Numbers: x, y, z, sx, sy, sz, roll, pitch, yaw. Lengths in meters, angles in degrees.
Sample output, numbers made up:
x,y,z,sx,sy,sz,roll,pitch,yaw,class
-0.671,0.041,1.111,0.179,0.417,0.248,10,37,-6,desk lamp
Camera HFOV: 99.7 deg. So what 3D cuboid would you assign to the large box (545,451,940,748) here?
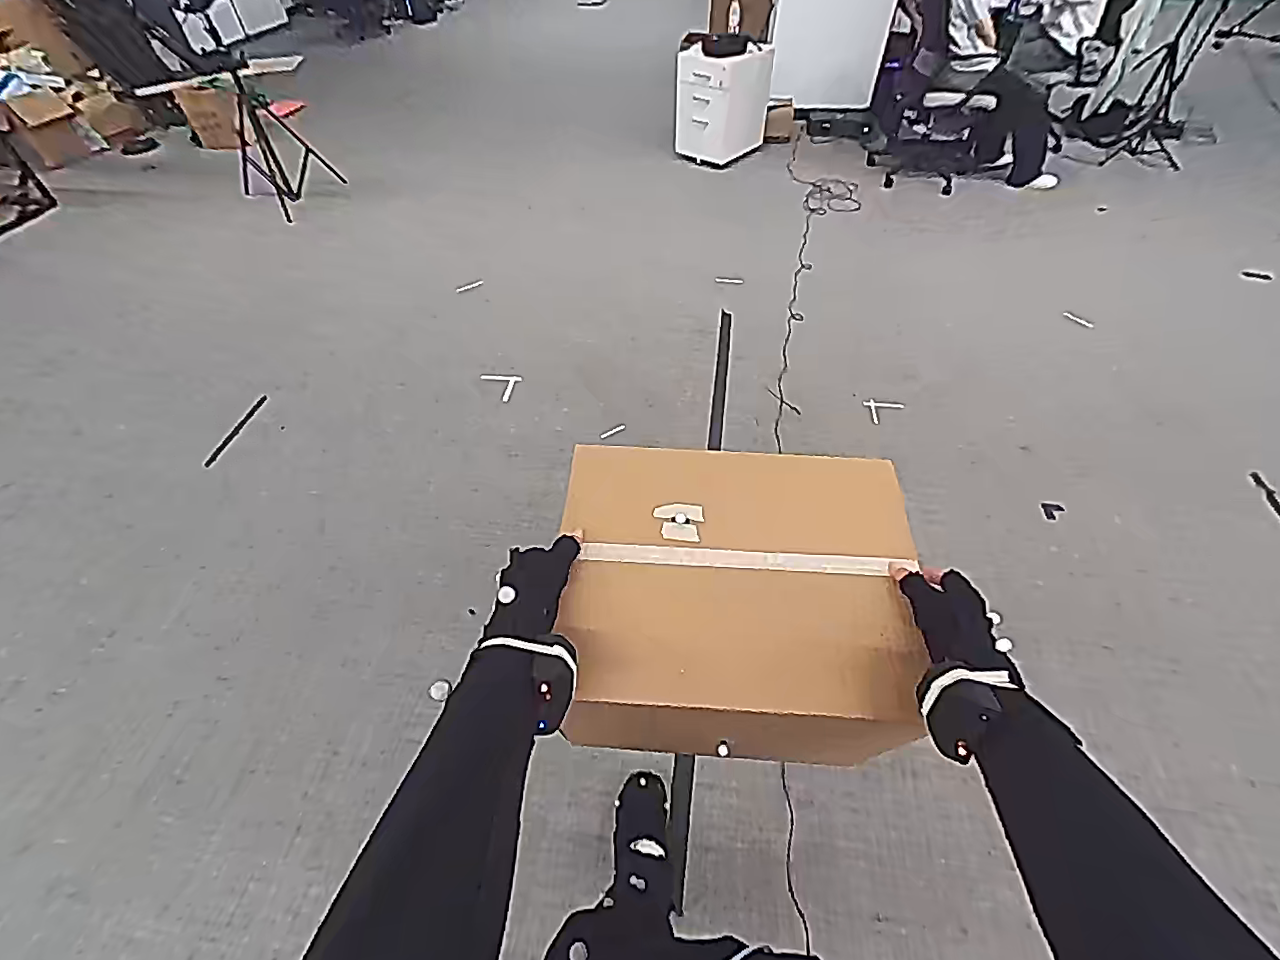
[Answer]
x,y,z,sx,sy,sz,roll,pitch,yaw,class
0.111,0.176,0.745,0.408,0.320,0.320,2,55,3,large box
